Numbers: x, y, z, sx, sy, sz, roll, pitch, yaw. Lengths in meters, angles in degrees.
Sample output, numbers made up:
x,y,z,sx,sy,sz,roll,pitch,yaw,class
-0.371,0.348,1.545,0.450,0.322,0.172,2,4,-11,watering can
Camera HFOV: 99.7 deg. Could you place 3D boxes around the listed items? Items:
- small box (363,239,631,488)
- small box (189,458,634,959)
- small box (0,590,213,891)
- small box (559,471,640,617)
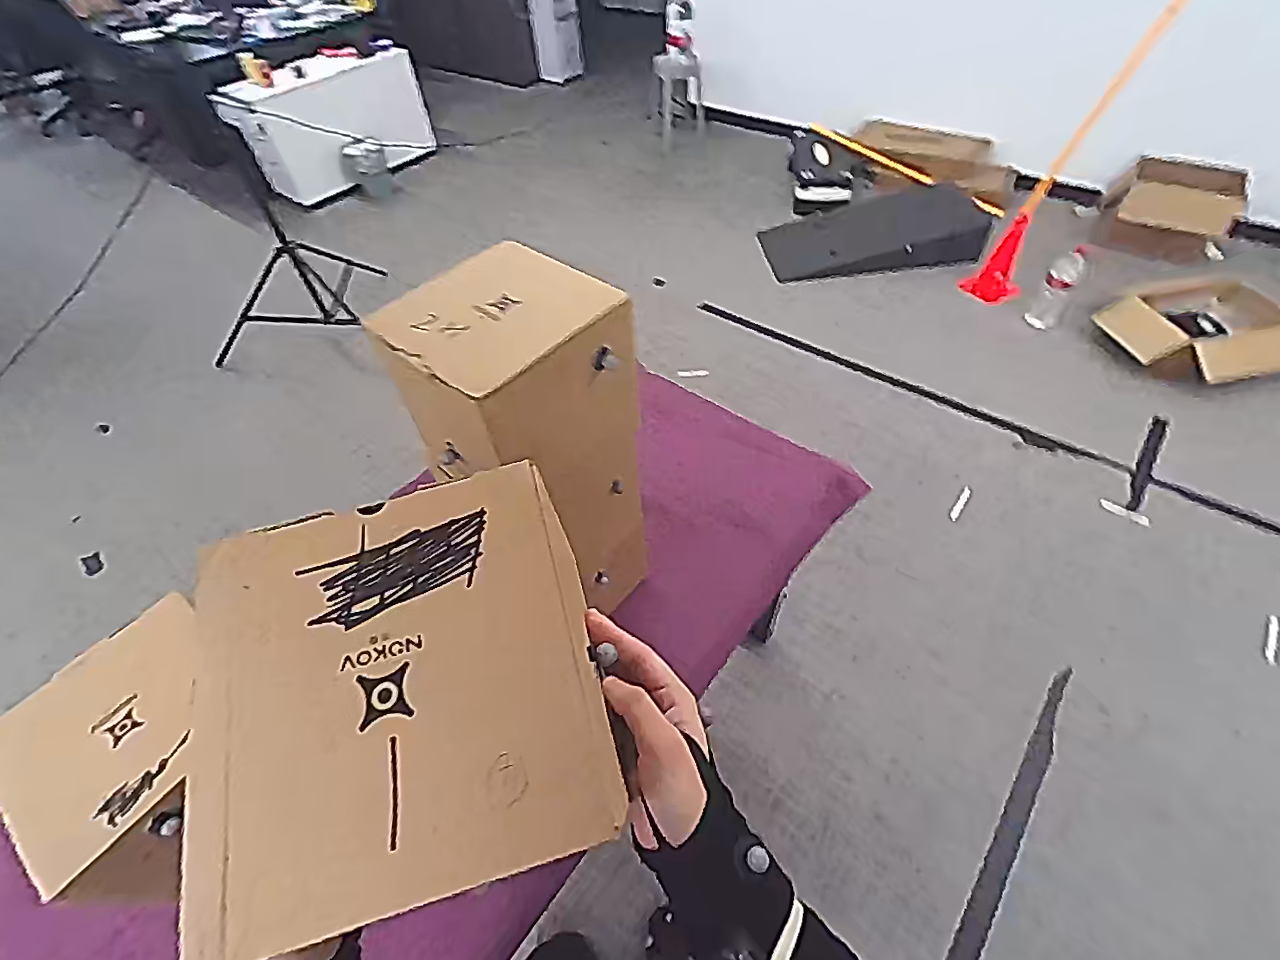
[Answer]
x,y,z,sx,sy,sz,roll,pitch,yaw,class
-0.123,-0.101,0.534,0.168,0.176,0.179,32,61,26,small box
-0.104,0.116,0.309,0.168,0.176,0.179,-15,66,-6,small box
-0.407,0.241,0.497,0.179,0.176,0.168,28,59,25,small box
-0.112,0.108,0.789,0.168,0.176,0.179,33,60,26,small box
